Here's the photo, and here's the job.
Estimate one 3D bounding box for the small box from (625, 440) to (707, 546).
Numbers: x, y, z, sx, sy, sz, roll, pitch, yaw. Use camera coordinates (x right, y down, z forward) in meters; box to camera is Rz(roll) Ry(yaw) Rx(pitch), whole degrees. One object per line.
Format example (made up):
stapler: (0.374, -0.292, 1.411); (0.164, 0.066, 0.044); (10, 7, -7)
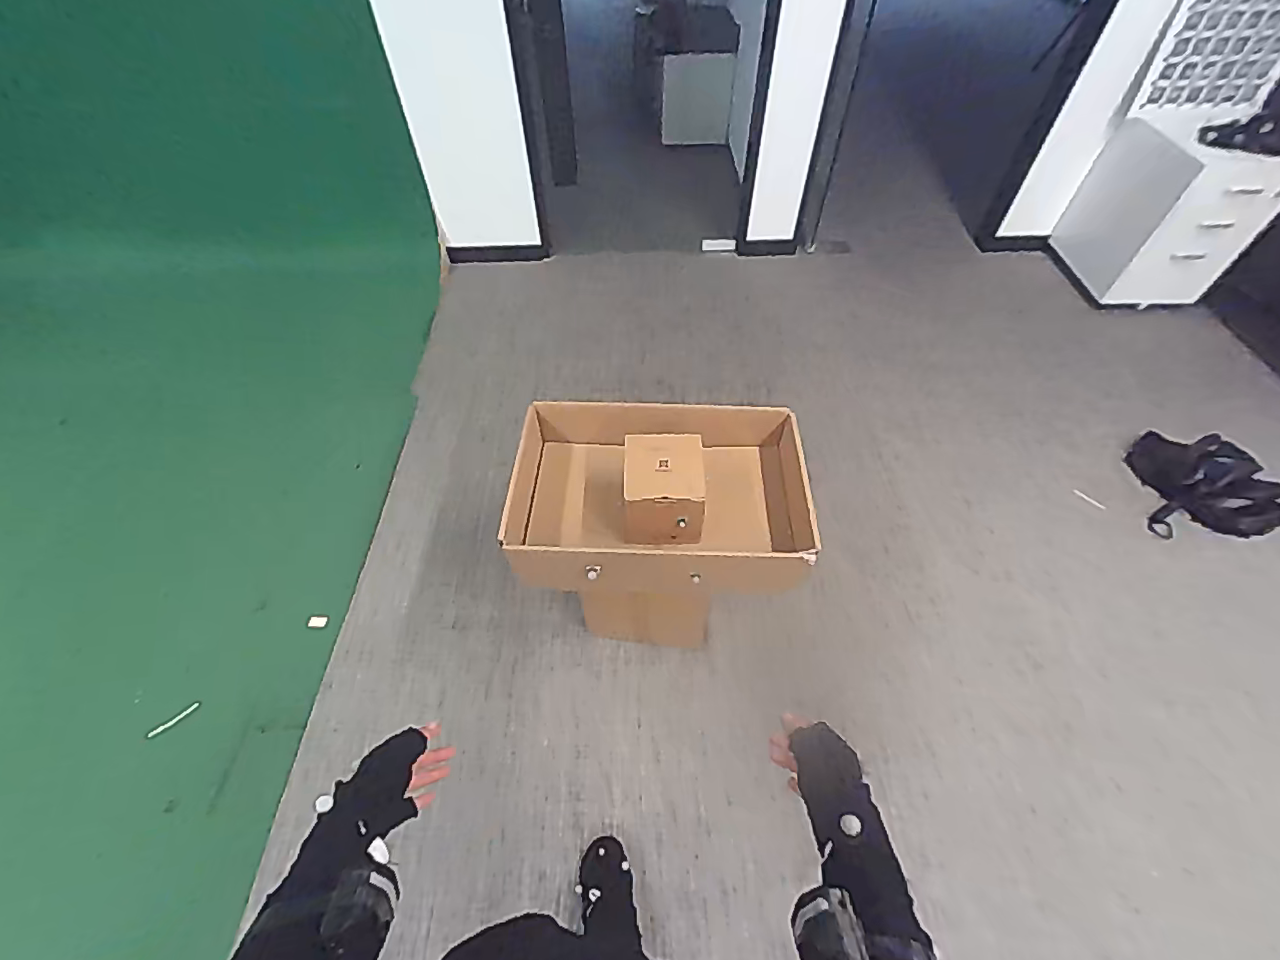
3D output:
small box: (0.052, 0.032, 1.177); (0.168, 0.176, 0.179); (0, 50, -1)
